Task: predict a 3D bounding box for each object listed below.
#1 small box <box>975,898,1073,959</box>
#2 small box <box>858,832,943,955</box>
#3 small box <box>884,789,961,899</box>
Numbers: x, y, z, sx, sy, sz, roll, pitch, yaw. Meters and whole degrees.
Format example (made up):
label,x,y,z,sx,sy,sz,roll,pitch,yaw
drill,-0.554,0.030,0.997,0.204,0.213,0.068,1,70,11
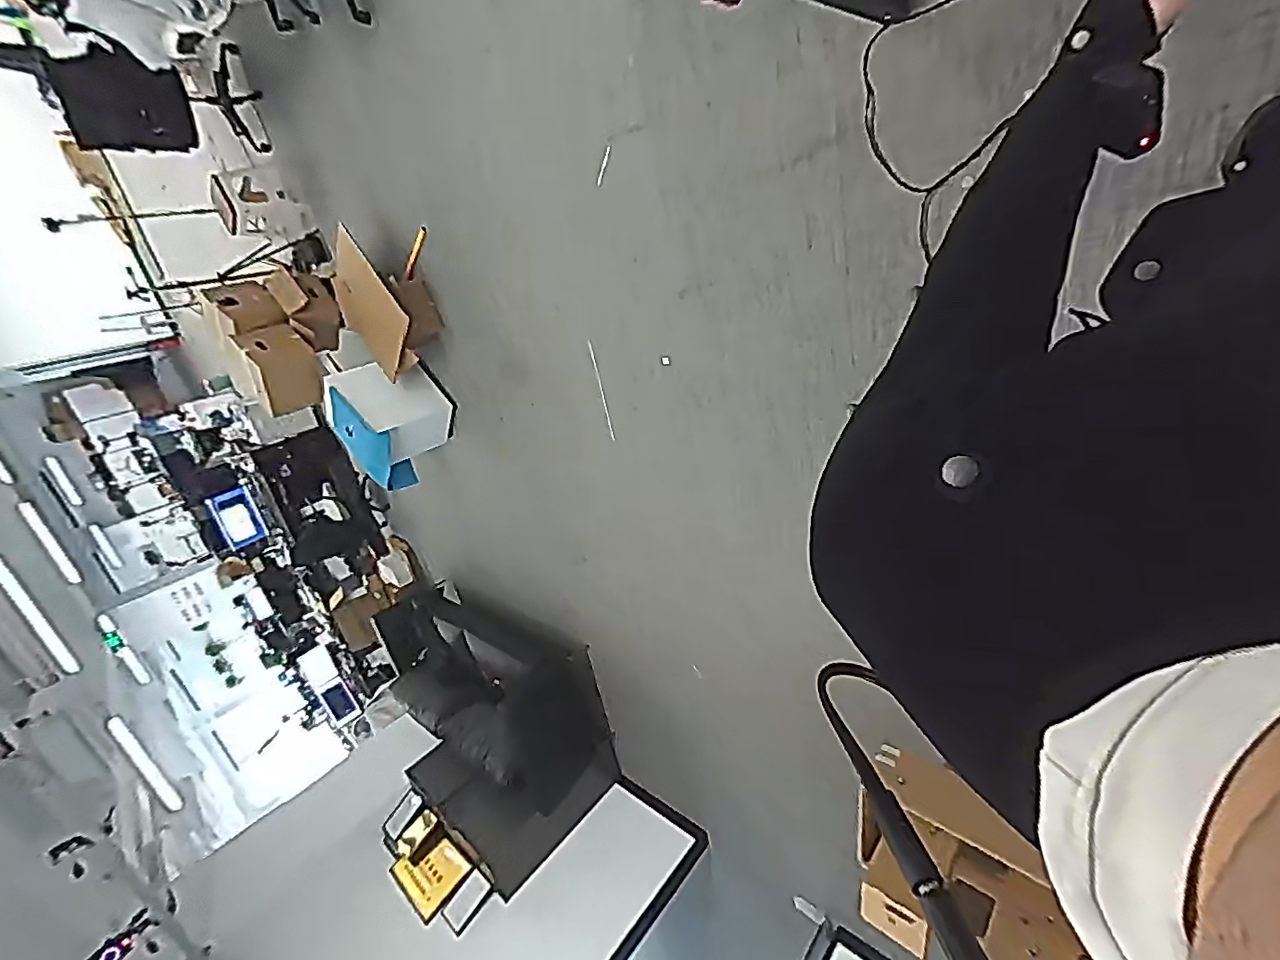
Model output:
label,x,y,z,sx,sy,sz,roll,pitch,yaw
small box,0.916,1.172,1.302,0.168,0.176,0.179,16,124,41
small box,0.716,1.125,1.485,0.168,0.176,0.179,14,124,41
small box,0.826,1.059,1.588,0.168,0.176,0.179,14,124,41
